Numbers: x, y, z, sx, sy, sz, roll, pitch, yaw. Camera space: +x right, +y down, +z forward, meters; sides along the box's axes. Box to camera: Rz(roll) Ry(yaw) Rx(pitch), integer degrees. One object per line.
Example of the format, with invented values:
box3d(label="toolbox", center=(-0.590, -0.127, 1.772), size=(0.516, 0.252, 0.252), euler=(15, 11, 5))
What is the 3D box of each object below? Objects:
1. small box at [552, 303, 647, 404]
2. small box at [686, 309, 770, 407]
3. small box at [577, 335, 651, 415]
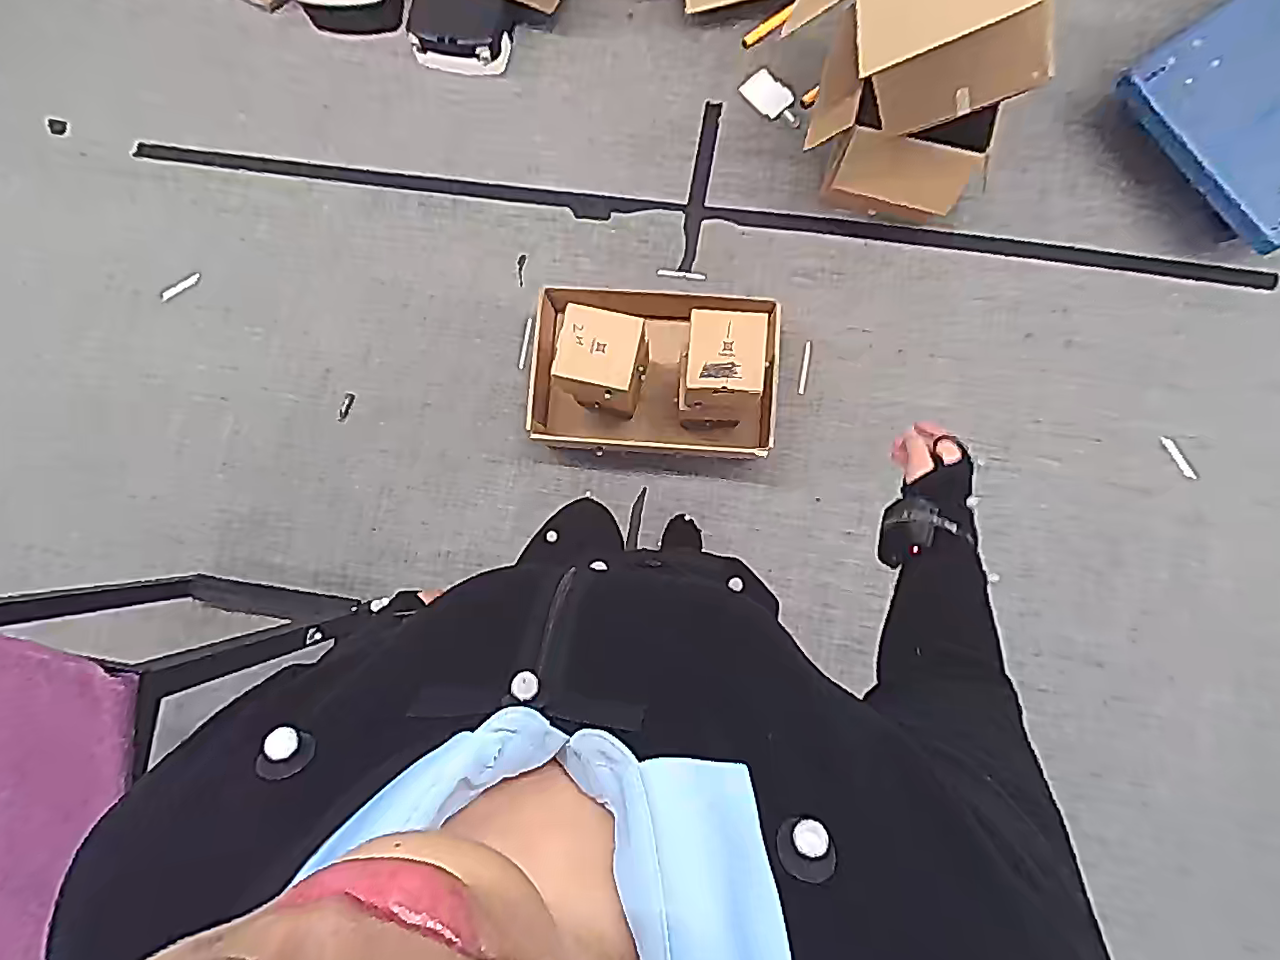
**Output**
box3d(label="small box", center=(-0.086, -0.283, 1.247), size=(0.179, 0.176, 0.168), euler=(13, 86, 3))
box3d(label="small box", center=(0.193, -0.269, 1.229), size=(0.168, 0.176, 0.179), euler=(5, 85, 4))
box3d(label="small box", center=(-0.073, -0.287, 1.413), size=(0.168, 0.176, 0.179), euler=(15, 86, 3))
